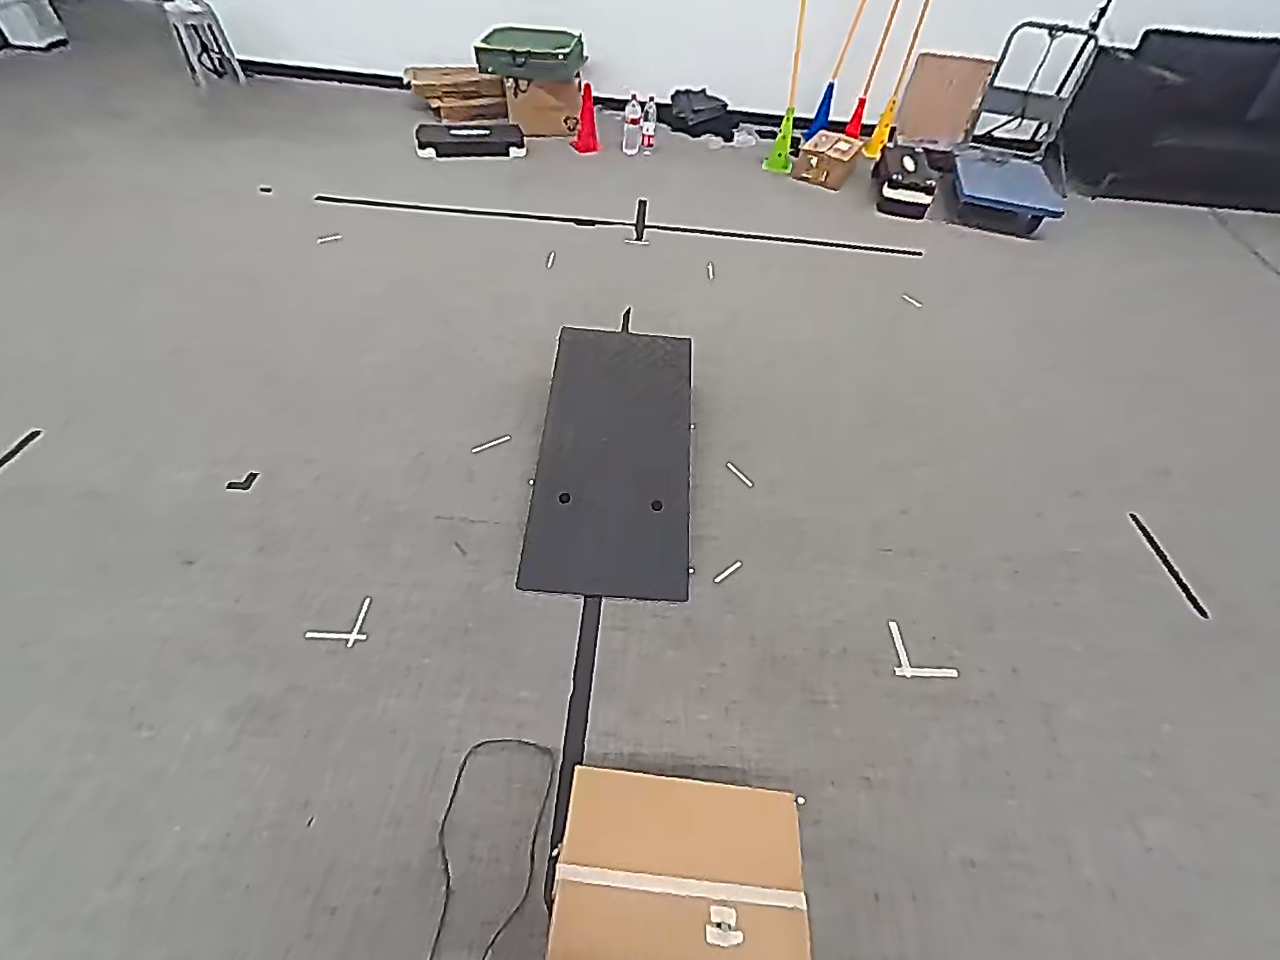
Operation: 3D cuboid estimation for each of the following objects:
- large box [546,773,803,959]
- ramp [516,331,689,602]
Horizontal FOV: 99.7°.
[{"bbox_3d":[0.047,0.763,0.991,0.408,0.320,0.320,8,50,-1],"label":"large box"},{"bbox_3d":[-0.082,-0.099,1.780,0.509,0.206,0.991,4,50,-4],"label":"ramp"}]
